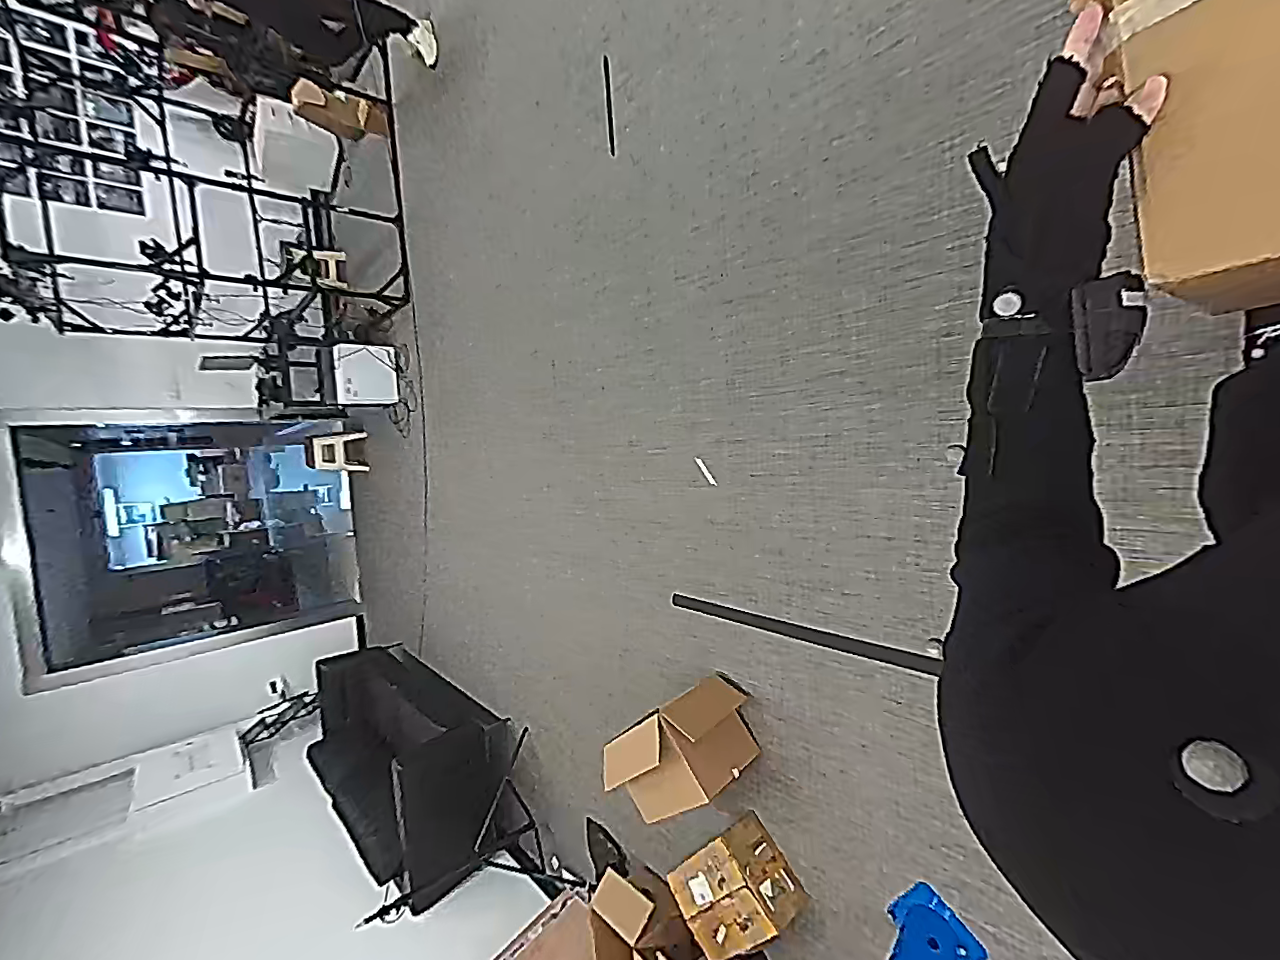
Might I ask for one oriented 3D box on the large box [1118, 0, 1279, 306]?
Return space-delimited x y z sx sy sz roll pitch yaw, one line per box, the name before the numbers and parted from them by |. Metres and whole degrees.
large box | 0.527 -0.310 0.267 0.408 0.320 0.320 -6 93 51
